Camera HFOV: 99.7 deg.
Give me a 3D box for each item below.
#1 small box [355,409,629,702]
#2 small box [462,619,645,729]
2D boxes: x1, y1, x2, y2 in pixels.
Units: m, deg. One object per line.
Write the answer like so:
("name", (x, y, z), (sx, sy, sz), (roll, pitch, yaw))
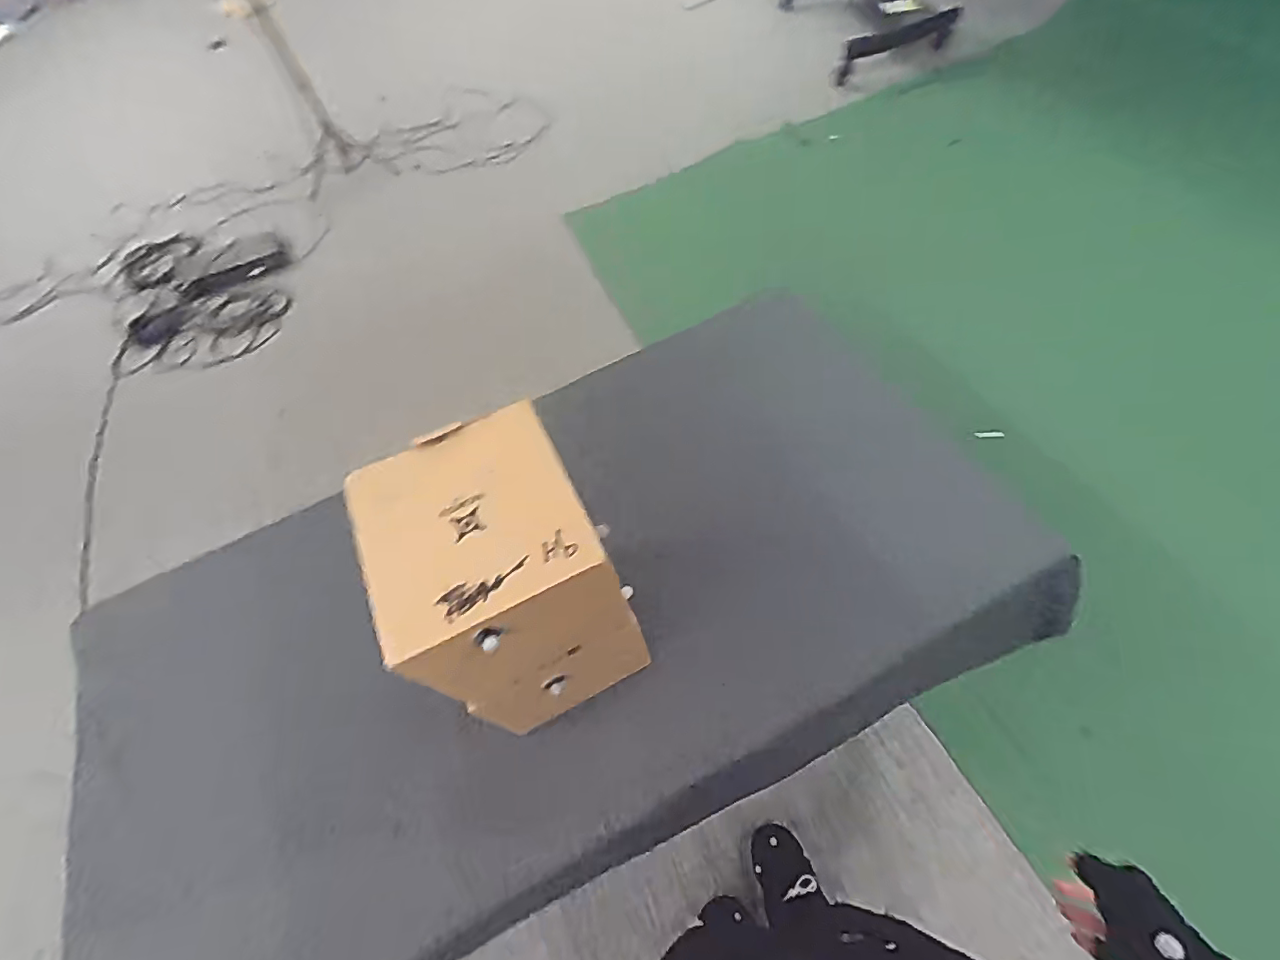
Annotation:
("small box", (-0.124, 0.074, 0.496), (0.168, 0.176, 0.179), (-27, 59, -11))
("small box", (-0.110, 0.164, 0.629), (0.179, 0.176, 0.168), (-26, 58, -10))
